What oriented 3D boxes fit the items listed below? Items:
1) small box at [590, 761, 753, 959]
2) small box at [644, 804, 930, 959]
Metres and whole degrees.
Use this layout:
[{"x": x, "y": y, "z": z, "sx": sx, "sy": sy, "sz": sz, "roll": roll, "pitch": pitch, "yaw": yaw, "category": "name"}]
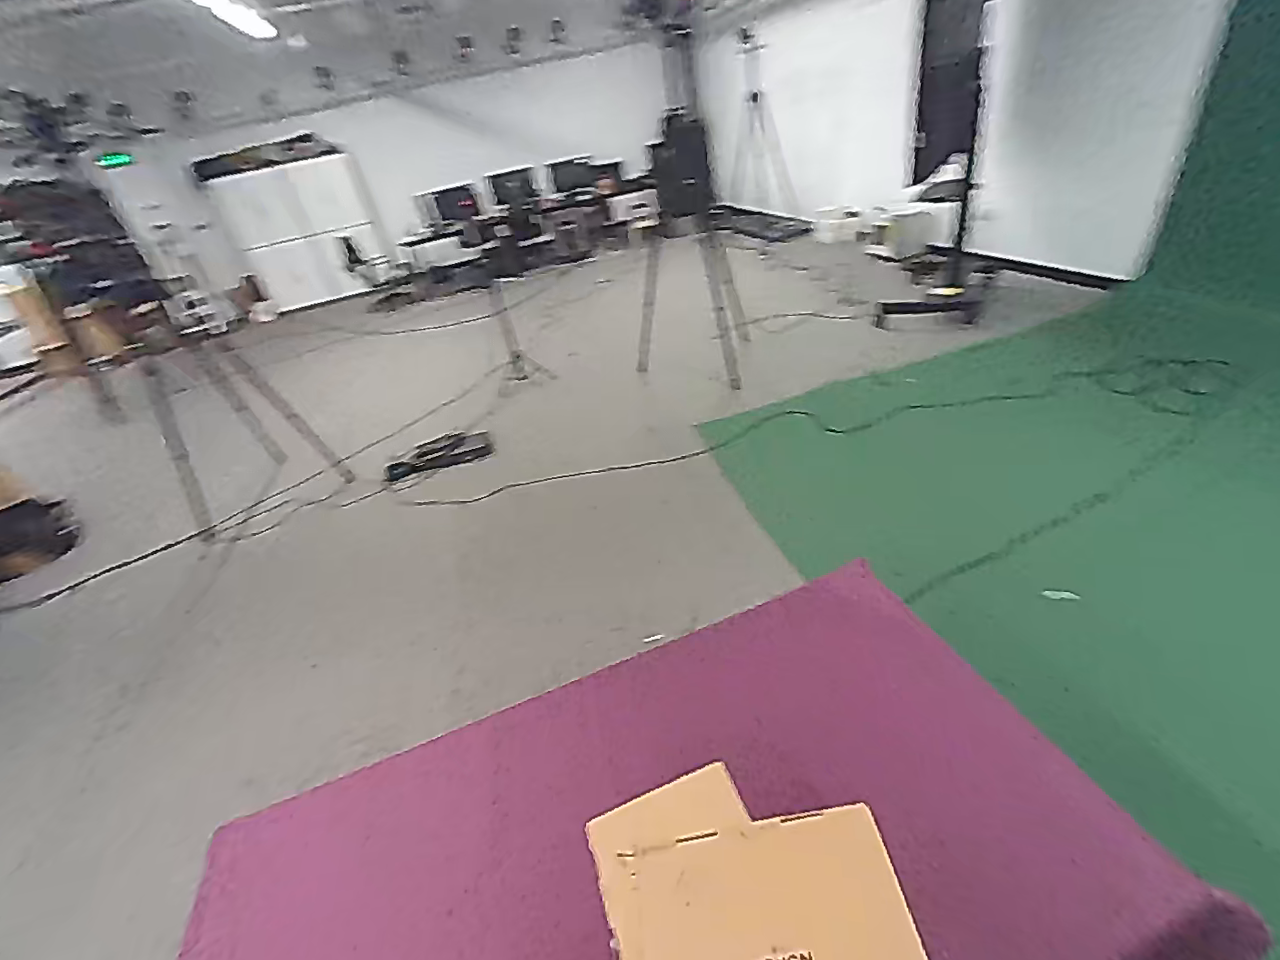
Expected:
[{"x": 0.061, "y": 0.472, "z": 0.621, "sx": 0.179, "sy": 0.176, "sz": 0.168, "roll": -20, "pitch": 34, "yaw": -10, "category": "small box"}, {"x": 0.103, "y": 0.352, "z": 0.370, "sx": 0.168, "sy": 0.176, "sz": 0.179, "roll": -12, "pitch": 45, "yaw": 3, "category": "small box"}]
